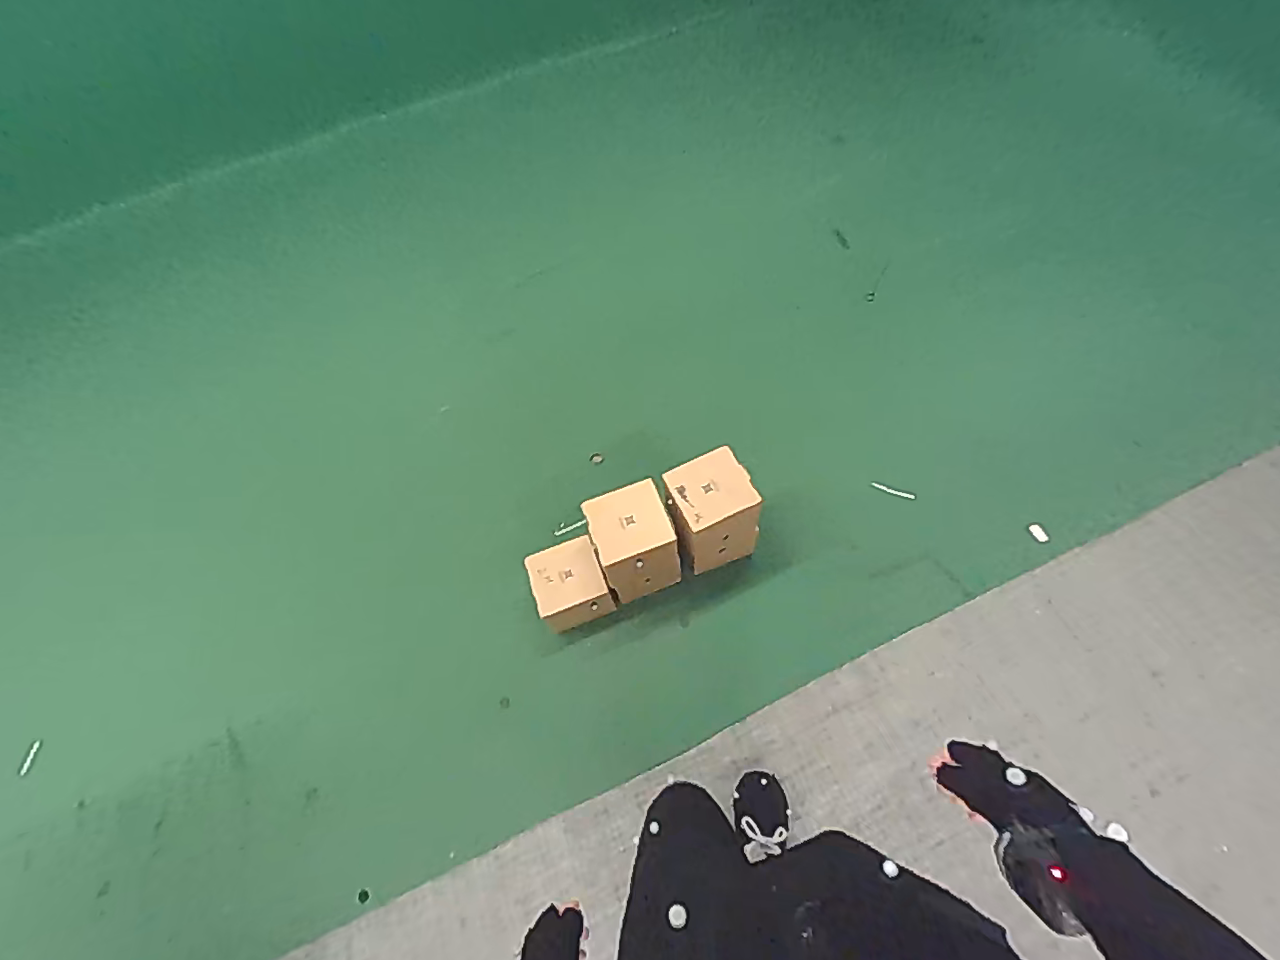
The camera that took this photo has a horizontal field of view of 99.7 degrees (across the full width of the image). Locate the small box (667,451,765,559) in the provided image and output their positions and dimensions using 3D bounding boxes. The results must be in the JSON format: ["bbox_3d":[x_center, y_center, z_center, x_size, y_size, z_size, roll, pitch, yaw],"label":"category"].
[{"bbox_3d":[0.175,0.064,1.299,0.179,0.176,0.168,-23,62,-8],"label":"small box"}]

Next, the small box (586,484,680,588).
[{"bbox_3d":[-0.012,0.136,1.282,0.179,0.176,0.168,-20,63,-3],"label":"small box"}]
